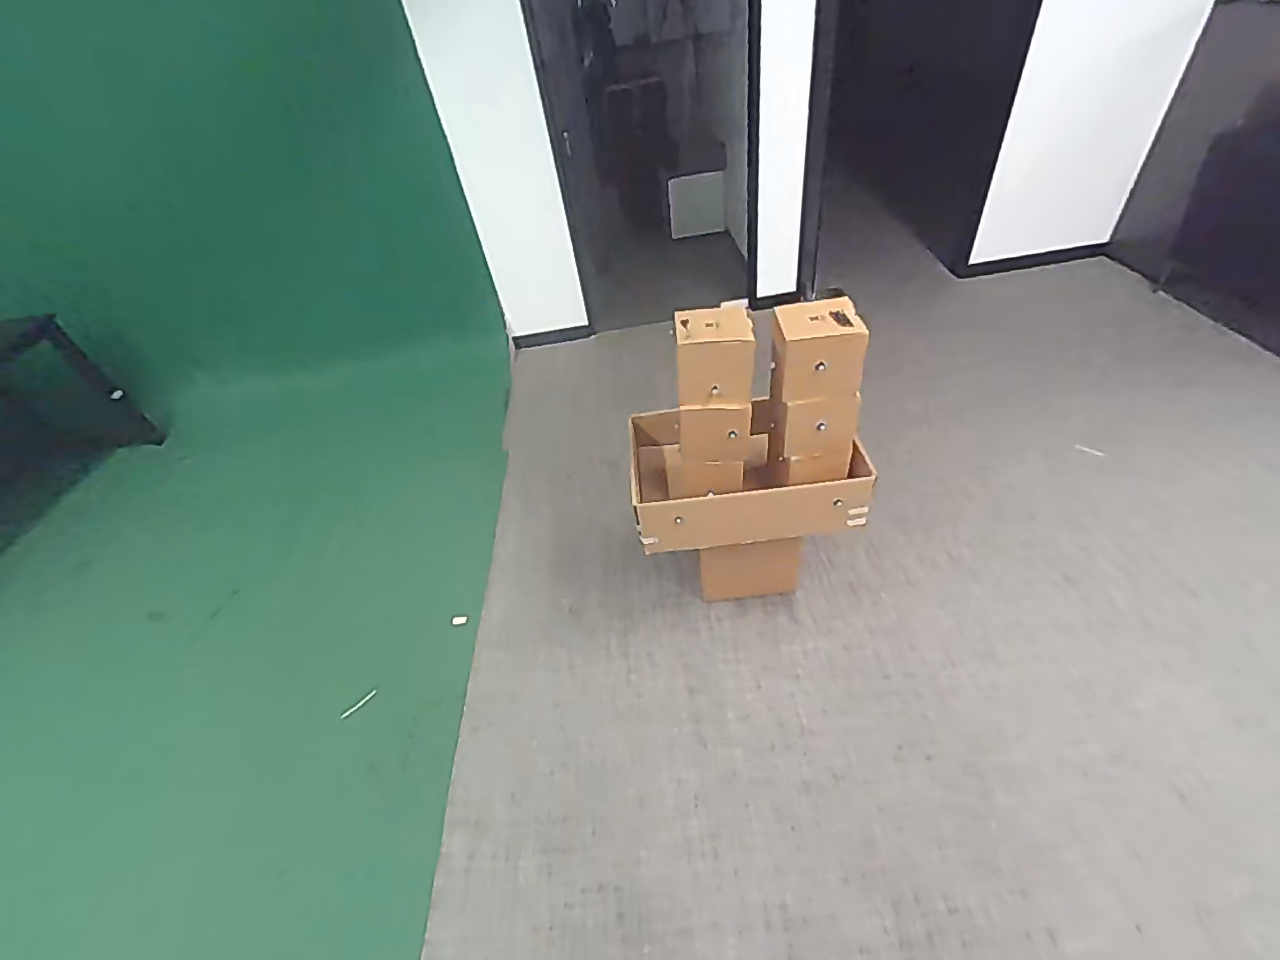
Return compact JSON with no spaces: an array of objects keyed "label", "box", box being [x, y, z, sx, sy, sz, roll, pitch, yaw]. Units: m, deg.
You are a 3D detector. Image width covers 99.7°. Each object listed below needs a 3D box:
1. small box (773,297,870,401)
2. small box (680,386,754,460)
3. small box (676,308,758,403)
[{"label":"small box","box":[0.414,-0.304,1.263,0.179,0.176,0.168,-6,43,6]},{"label":"small box","box":[0.195,-0.164,1.400,0.179,0.176,0.168,0,42,6]},{"label":"small box","box":[0.178,-0.298,1.307,0.179,0.176,0.168,-2,42,2]}]
